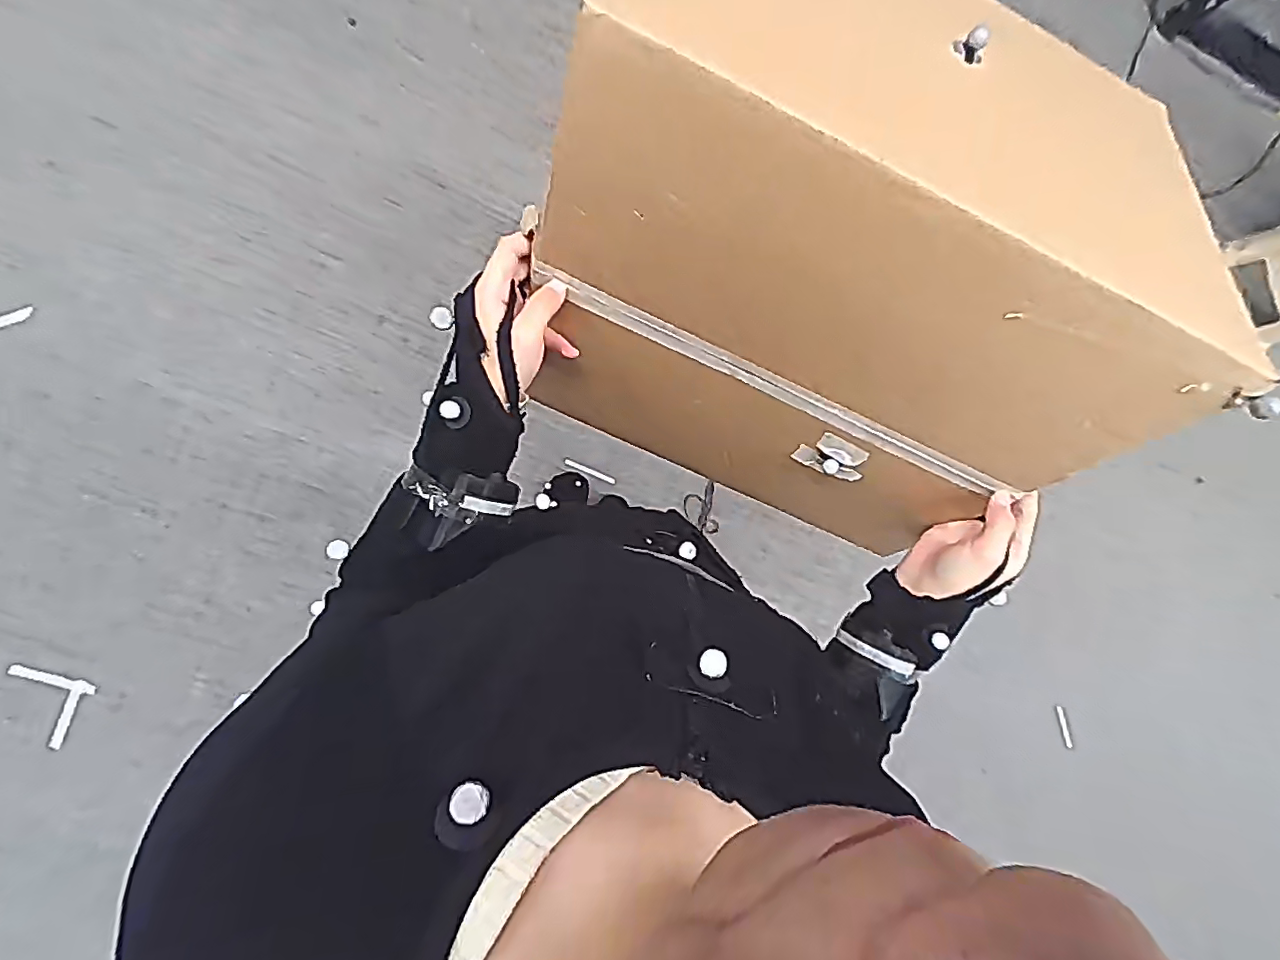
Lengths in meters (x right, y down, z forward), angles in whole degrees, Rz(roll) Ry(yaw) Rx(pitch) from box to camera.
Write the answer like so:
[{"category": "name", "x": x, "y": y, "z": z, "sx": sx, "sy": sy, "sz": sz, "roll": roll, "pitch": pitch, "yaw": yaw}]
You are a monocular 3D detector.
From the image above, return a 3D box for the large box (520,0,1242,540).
[{"category": "large box", "x": 0.148, "y": -0.199, "z": 0.478, "sx": 0.408, "sy": 0.320, "sz": 0.320, "roll": 22, "pitch": 61, "yaw": -7}]
